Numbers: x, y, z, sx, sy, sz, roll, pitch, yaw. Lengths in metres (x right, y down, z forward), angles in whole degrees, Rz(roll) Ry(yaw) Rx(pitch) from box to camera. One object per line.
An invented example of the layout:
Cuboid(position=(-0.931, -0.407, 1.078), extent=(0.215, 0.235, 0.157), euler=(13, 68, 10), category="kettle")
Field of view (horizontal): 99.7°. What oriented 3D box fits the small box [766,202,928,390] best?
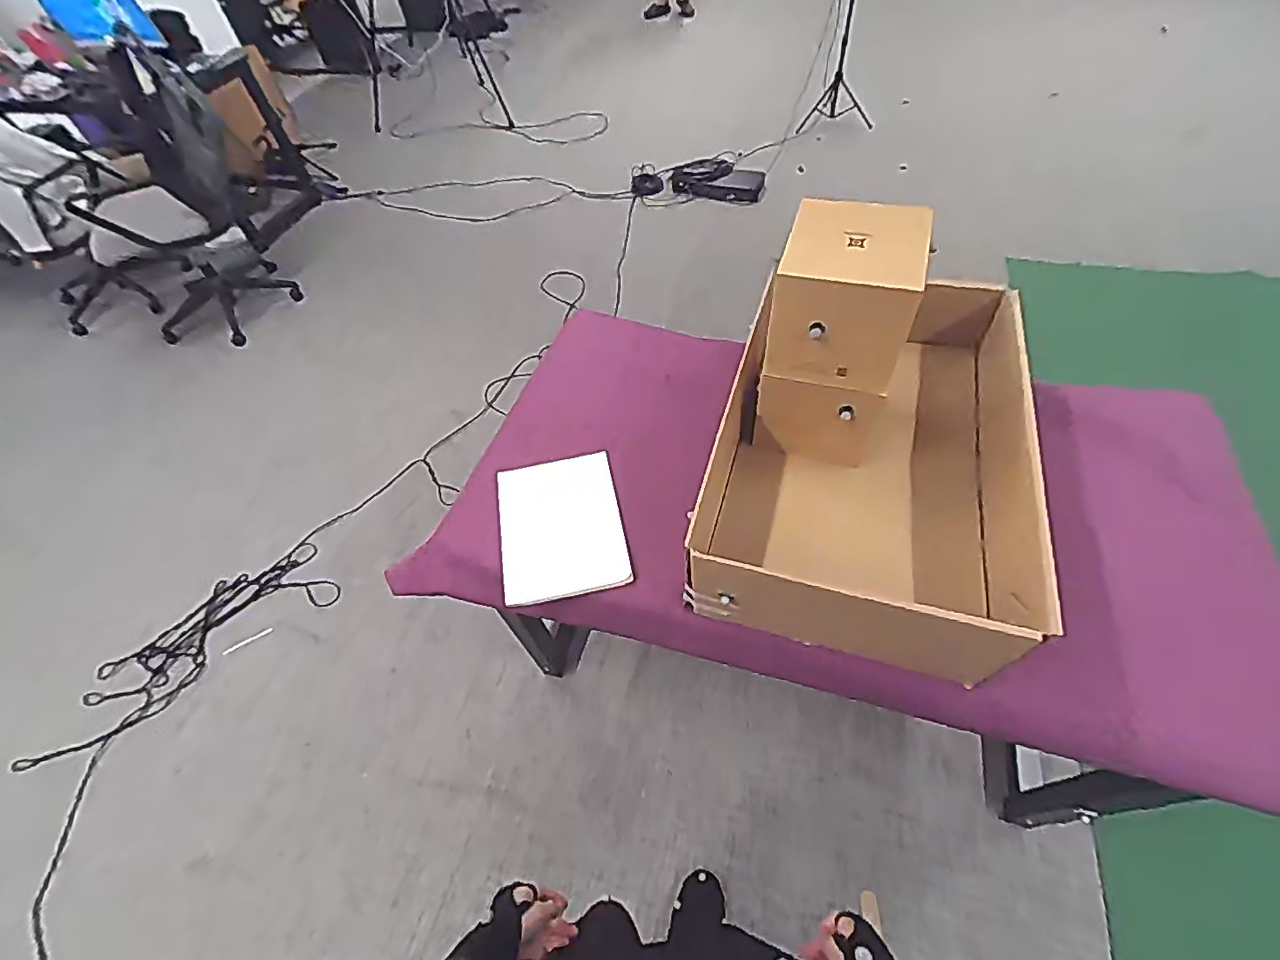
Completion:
Cuboid(position=(0.271, -0.246, 0.731), extent=(0.168, 0.176, 0.179), euler=(13, 57, 16), category="small box")
